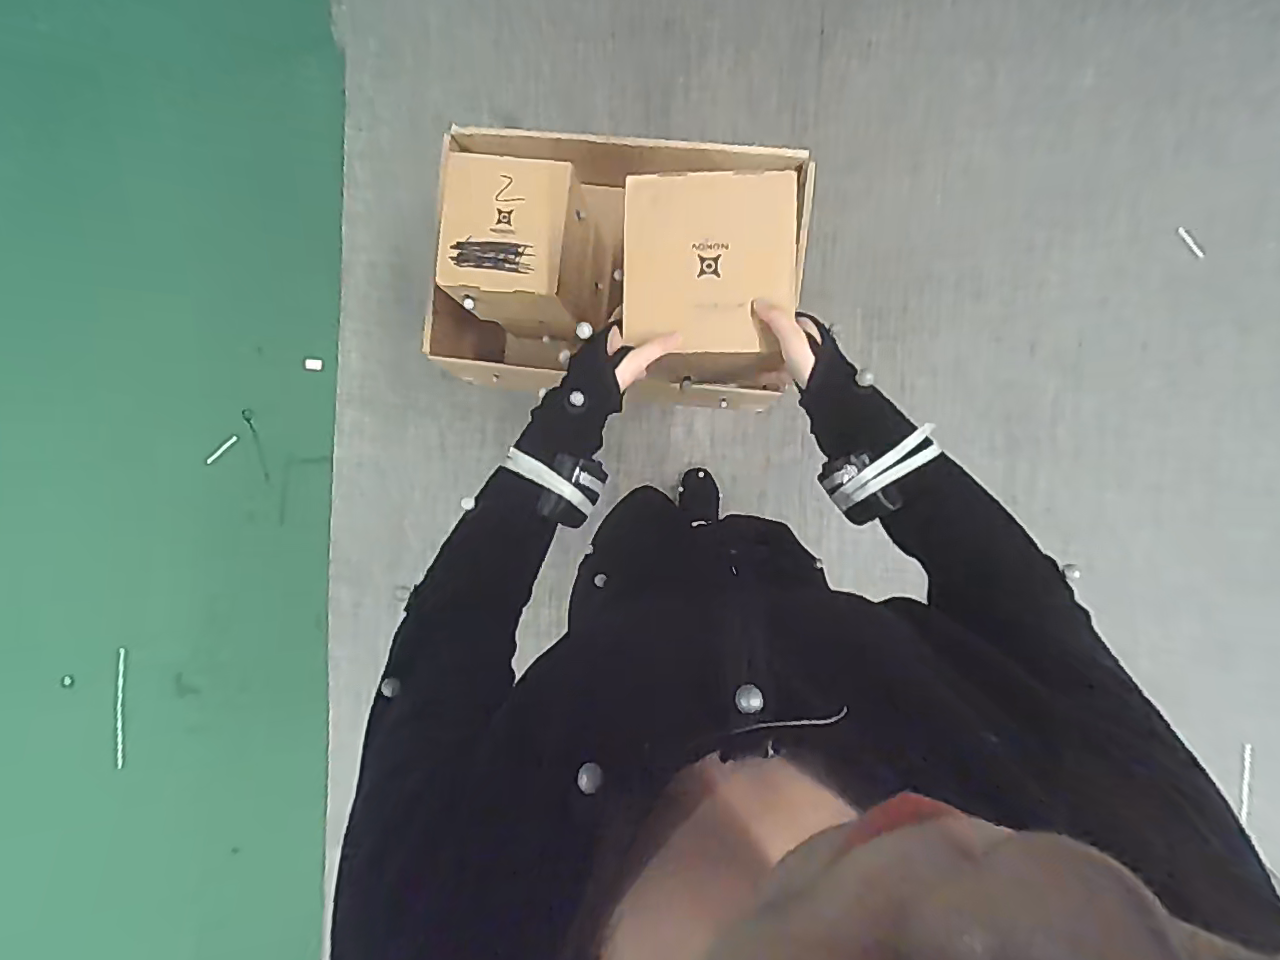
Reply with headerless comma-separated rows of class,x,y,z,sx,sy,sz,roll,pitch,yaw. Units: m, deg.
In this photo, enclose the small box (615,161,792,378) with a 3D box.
small box,0.066,-0.217,0.596,0.168,0.176,0.179,1,90,5
